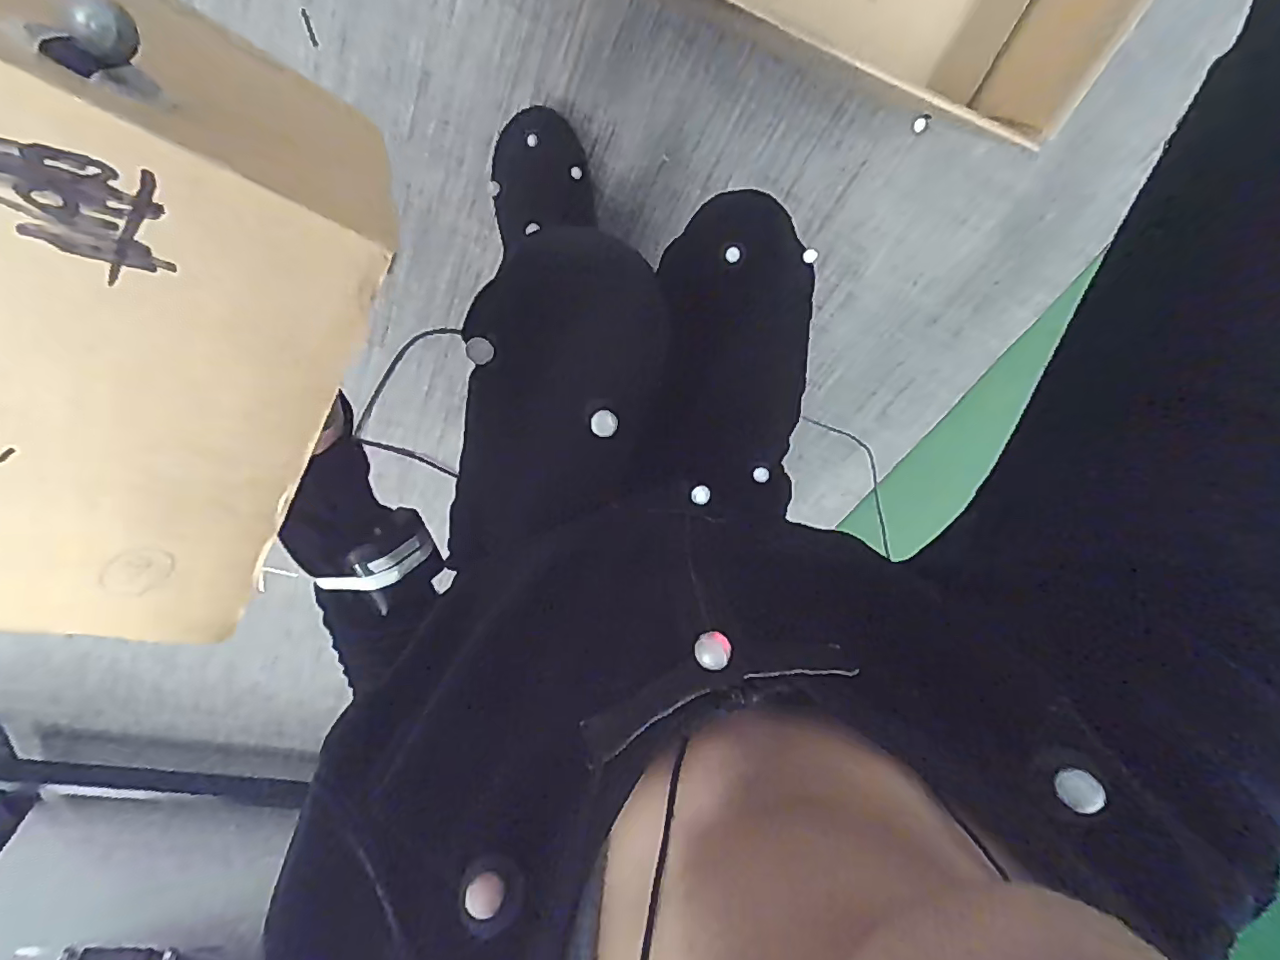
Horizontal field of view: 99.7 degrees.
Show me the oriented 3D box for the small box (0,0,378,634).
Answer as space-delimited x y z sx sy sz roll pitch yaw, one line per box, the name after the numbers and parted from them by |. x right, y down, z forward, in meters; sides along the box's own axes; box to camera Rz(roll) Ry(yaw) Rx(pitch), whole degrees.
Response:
-0.200 -0.077 0.173 0.168 0.176 0.179 18 120 -39 | small box
